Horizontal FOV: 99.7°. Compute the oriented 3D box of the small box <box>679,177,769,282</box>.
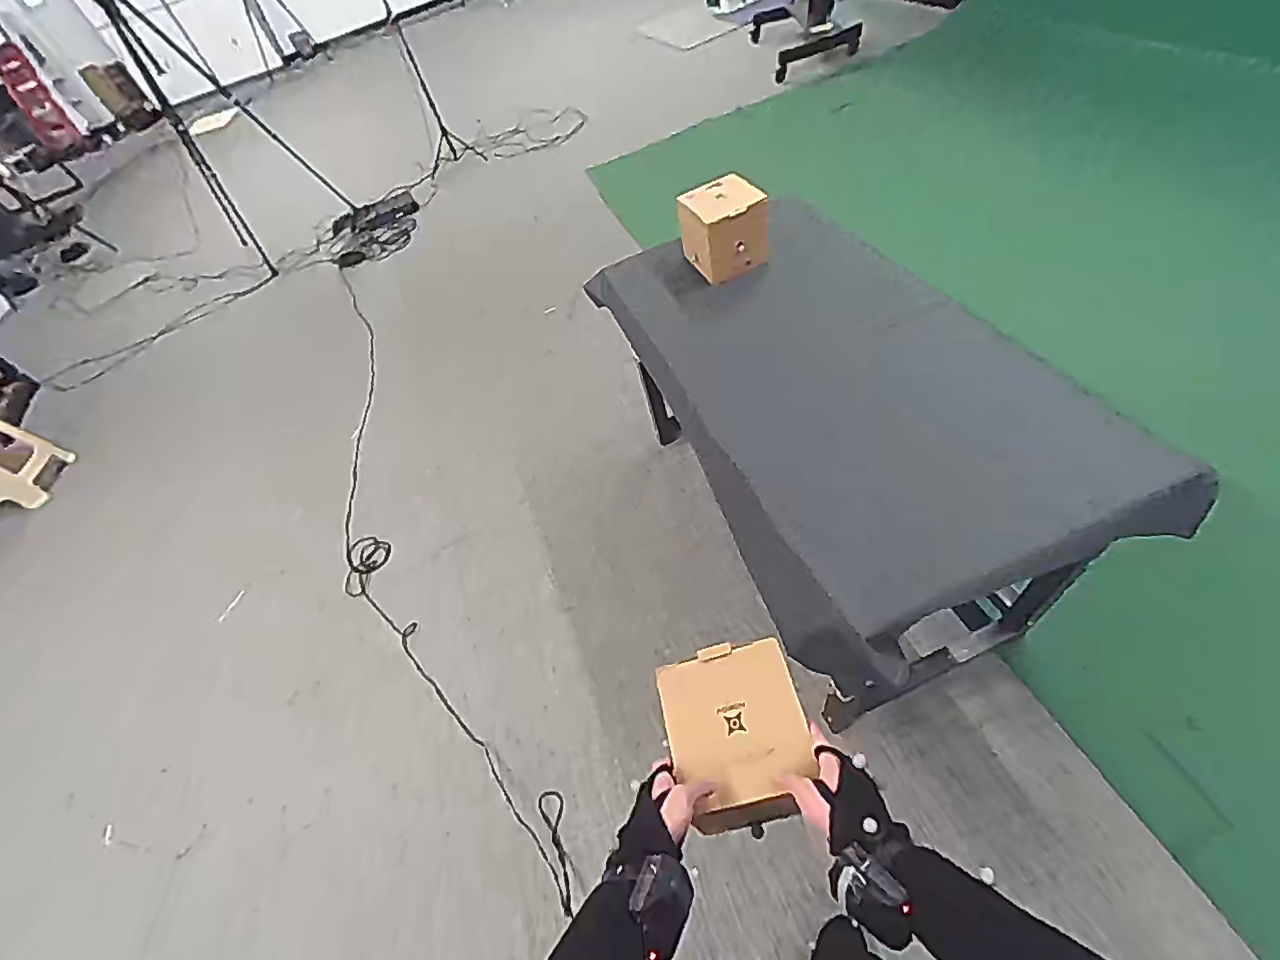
[{"bbox_3d":[0.220,-0.635,1.390,0.168,0.176,0.179,-25,53,-4],"label":"small box"}]

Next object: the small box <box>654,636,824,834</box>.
[{"bbox_3d":[0.125,0.330,0.694,0.168,0.176,0.179,-16,49,6],"label":"small box"}]
